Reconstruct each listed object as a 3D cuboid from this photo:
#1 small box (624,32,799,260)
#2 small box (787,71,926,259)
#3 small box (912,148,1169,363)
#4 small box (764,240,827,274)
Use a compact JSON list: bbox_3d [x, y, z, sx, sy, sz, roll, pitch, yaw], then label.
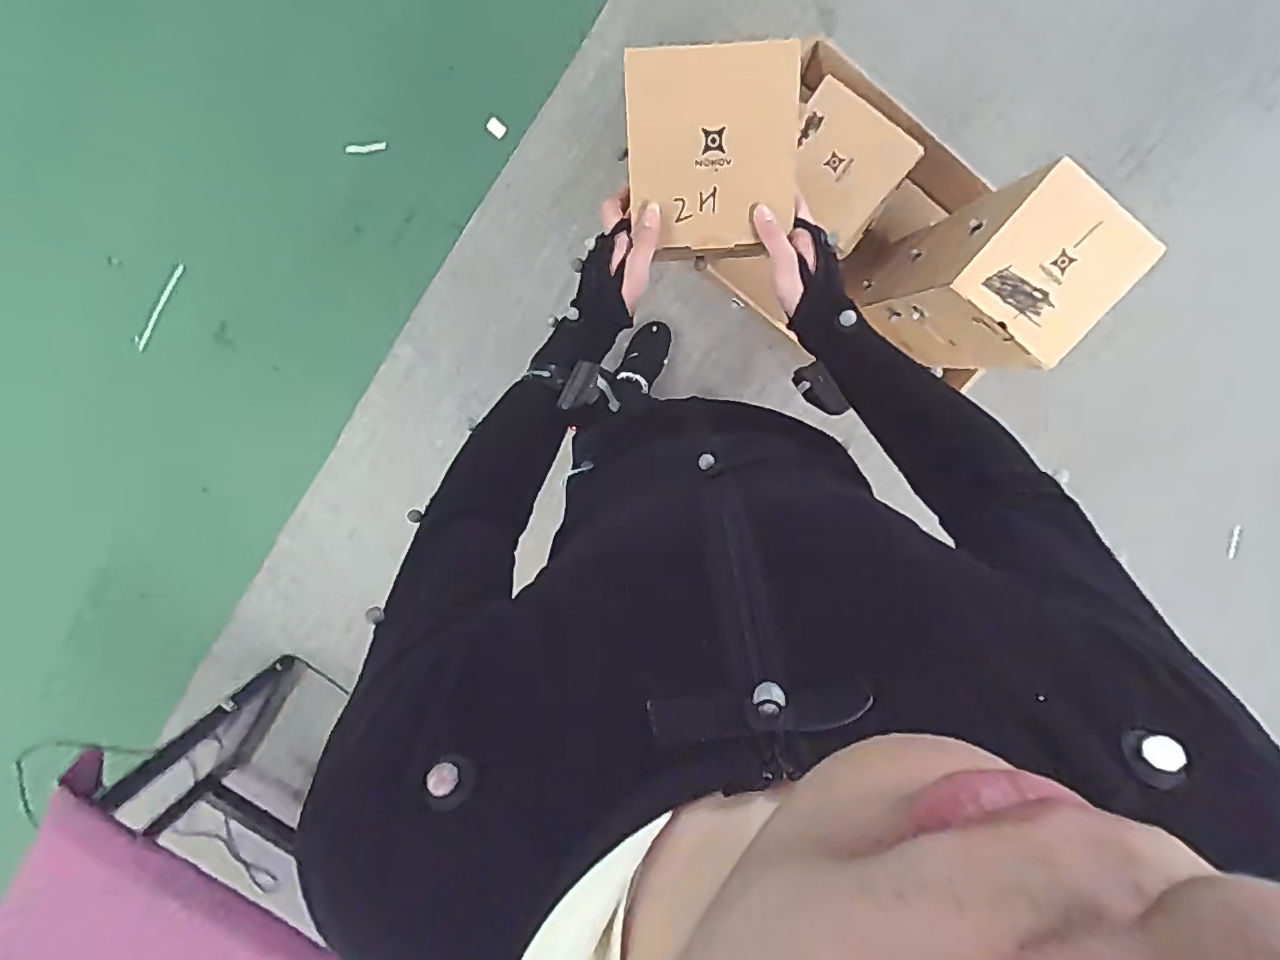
[{"bbox_3d":[0.070,-0.347,0.596,0.168,0.176,0.179,-3,109,3],"label":"small box"},{"bbox_3d":[0.288,-0.465,0.836,0.179,0.176,0.168,35,103,-5],"label":"small box"},{"bbox_3d":[0.485,-0.268,0.696,0.168,0.176,0.179,38,102,-5],"label":"small box"},{"bbox_3d":[0.299,-0.503,0.995,0.179,0.176,0.168,37,103,-6],"label":"small box"}]
